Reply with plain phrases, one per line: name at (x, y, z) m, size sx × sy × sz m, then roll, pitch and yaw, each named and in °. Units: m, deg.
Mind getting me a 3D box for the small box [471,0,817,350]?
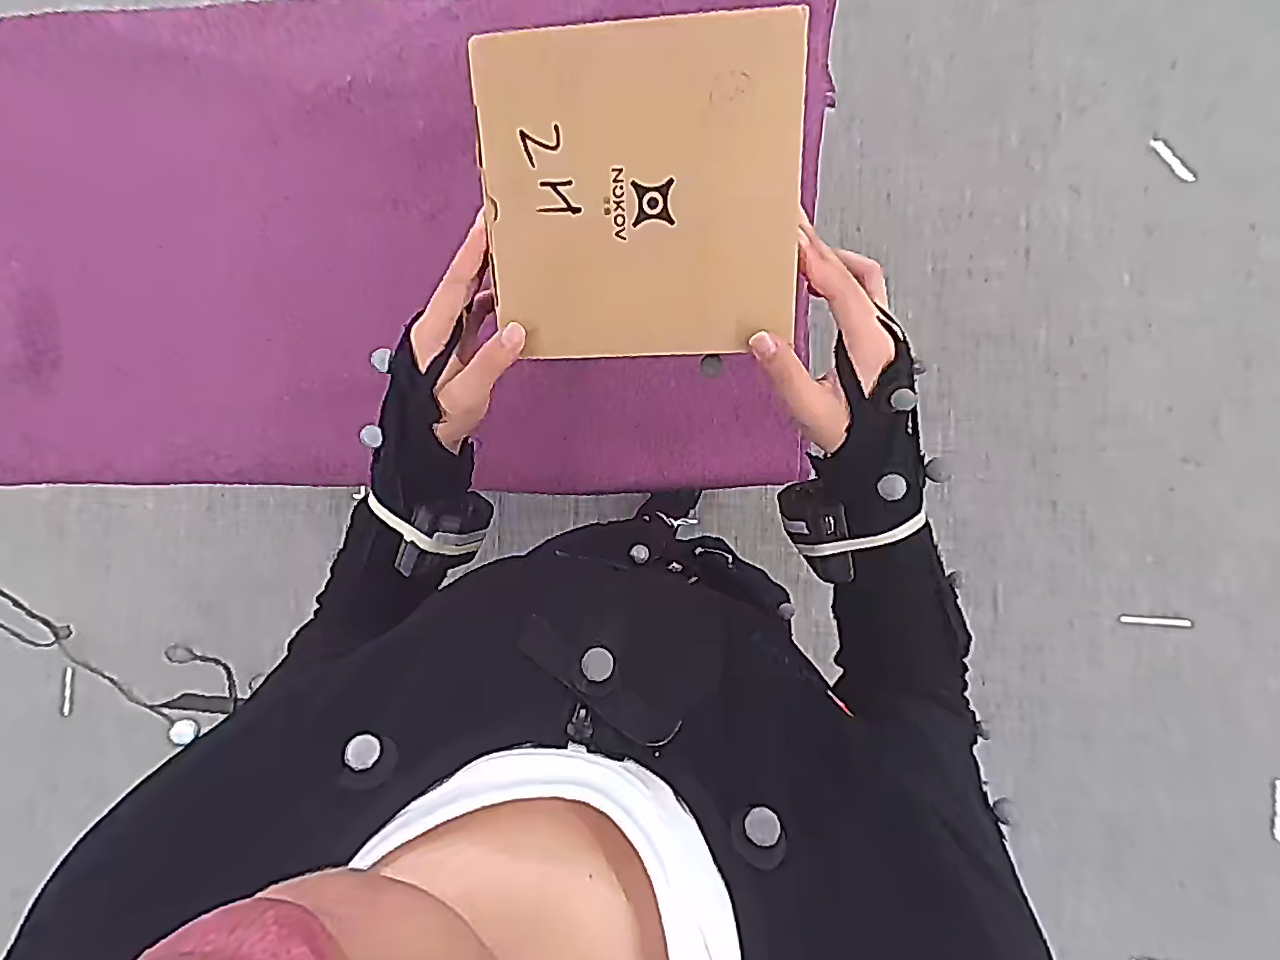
small box at (0.008, -0.178, 0.366) m, size 0.179 × 0.176 × 0.168 m, roll 0°, pitch 107°, yaw 6°
